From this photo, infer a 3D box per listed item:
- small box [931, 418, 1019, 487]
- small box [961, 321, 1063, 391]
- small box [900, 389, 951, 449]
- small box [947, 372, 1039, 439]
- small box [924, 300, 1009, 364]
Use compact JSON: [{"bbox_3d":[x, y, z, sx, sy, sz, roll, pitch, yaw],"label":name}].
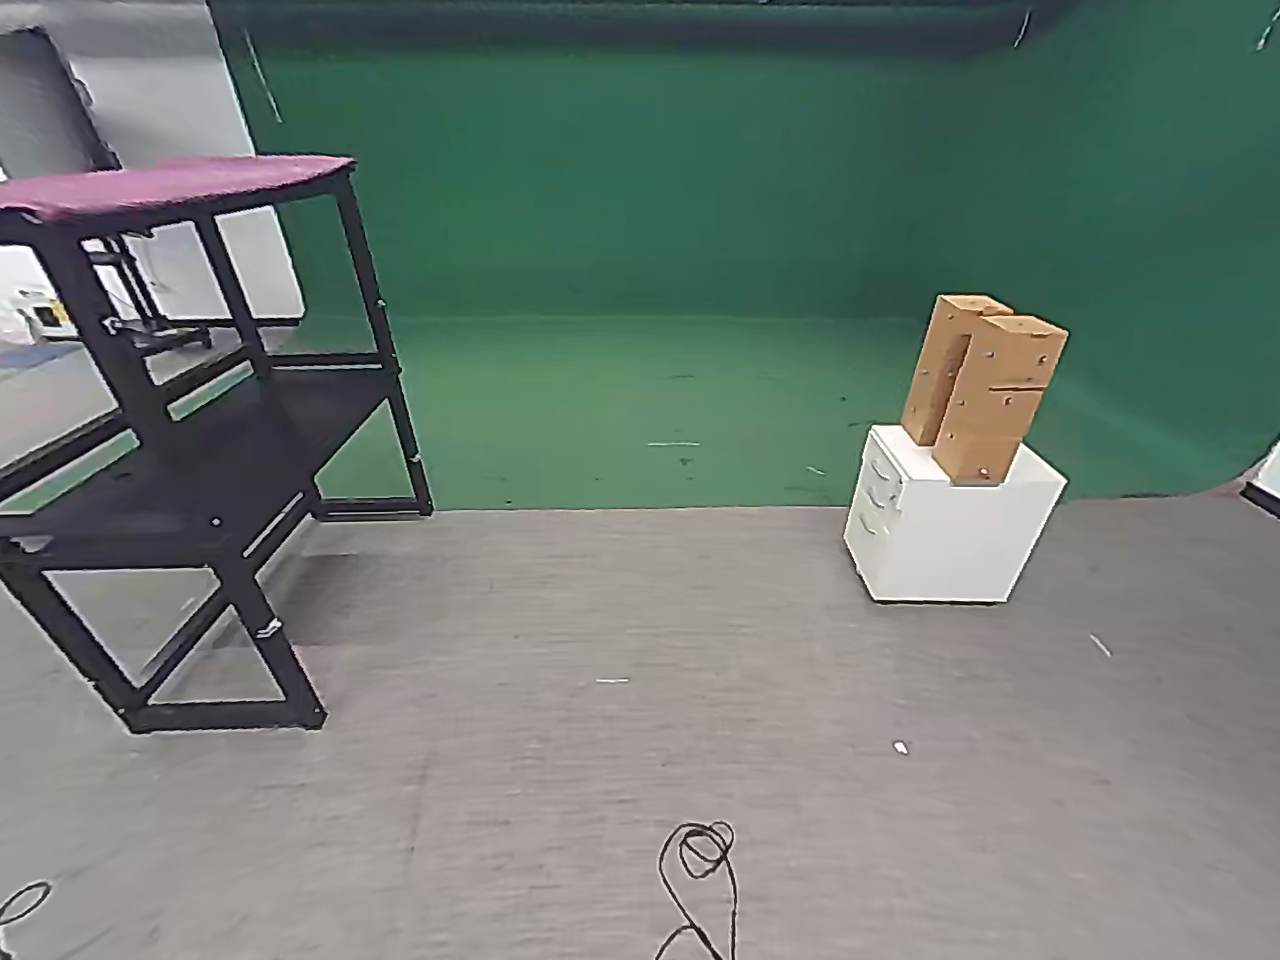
[{"bbox_3d":[1.102,-0.094,1.797,0.168,0.176,0.179,1,32,1],"label":"small box"},{"bbox_3d":[1.106,-0.372,1.622,0.168,0.176,0.179,0,31,0],"label":"small box"},{"bbox_3d":[1.093,-0.226,2.005,0.168,0.176,0.179,0,33,1],"label":"small box"},{"bbox_3d":[1.105,-0.238,1.715,0.179,0.176,0.168,-1,32,-1],"label":"small box"},{"bbox_3d":[1.093,-0.501,1.829,0.168,0.176,0.179,1,34,1],"label":"small box"}]
